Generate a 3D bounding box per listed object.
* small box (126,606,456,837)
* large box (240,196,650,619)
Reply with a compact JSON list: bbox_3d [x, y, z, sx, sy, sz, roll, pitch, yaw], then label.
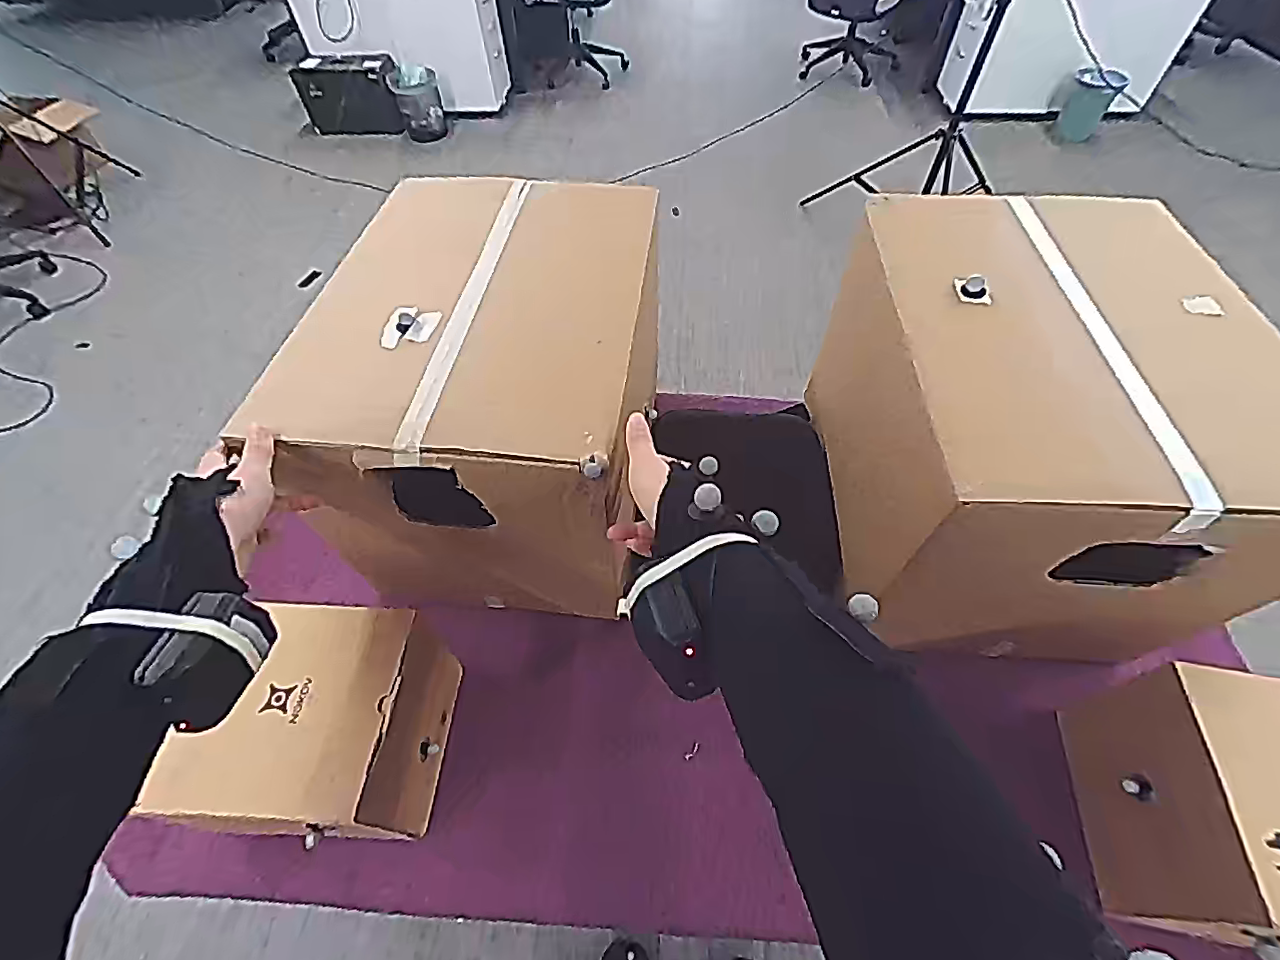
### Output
[{"bbox_3d":[-0.296,0.233,0.512,0.179,0.176,0.168,3,53,-1],"label":"small box"},{"bbox_3d":[-0.155,-0.085,0.658,0.320,0.320,0.408,4,57,5],"label":"large box"}]
